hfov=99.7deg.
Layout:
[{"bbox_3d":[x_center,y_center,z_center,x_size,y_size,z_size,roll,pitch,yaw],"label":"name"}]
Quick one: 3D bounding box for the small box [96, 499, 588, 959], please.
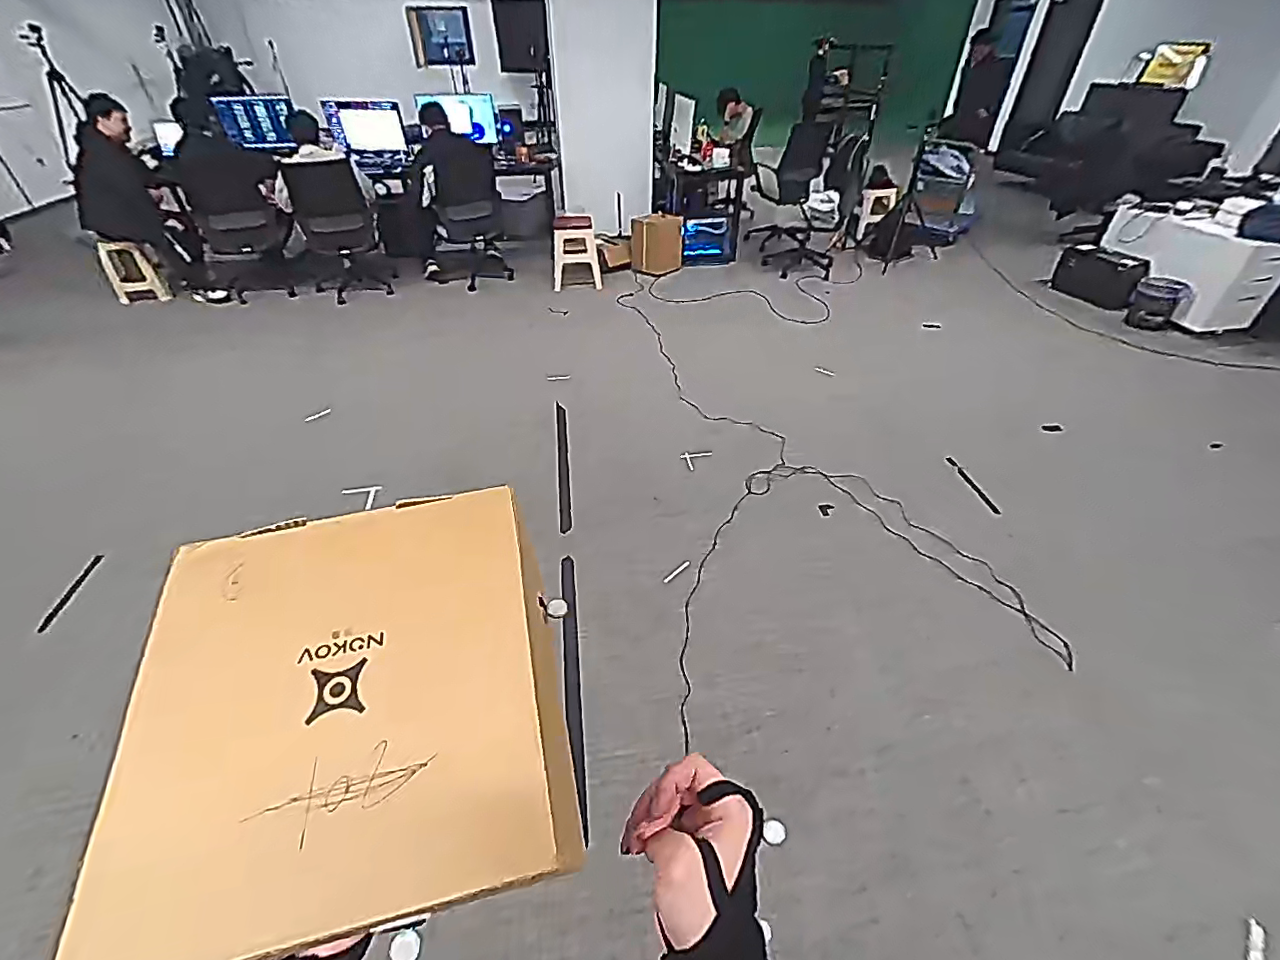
[{"bbox_3d":[-0.127,0.139,0.308,0.168,0.176,0.179,-11,56,-8],"label":"small box"}]
